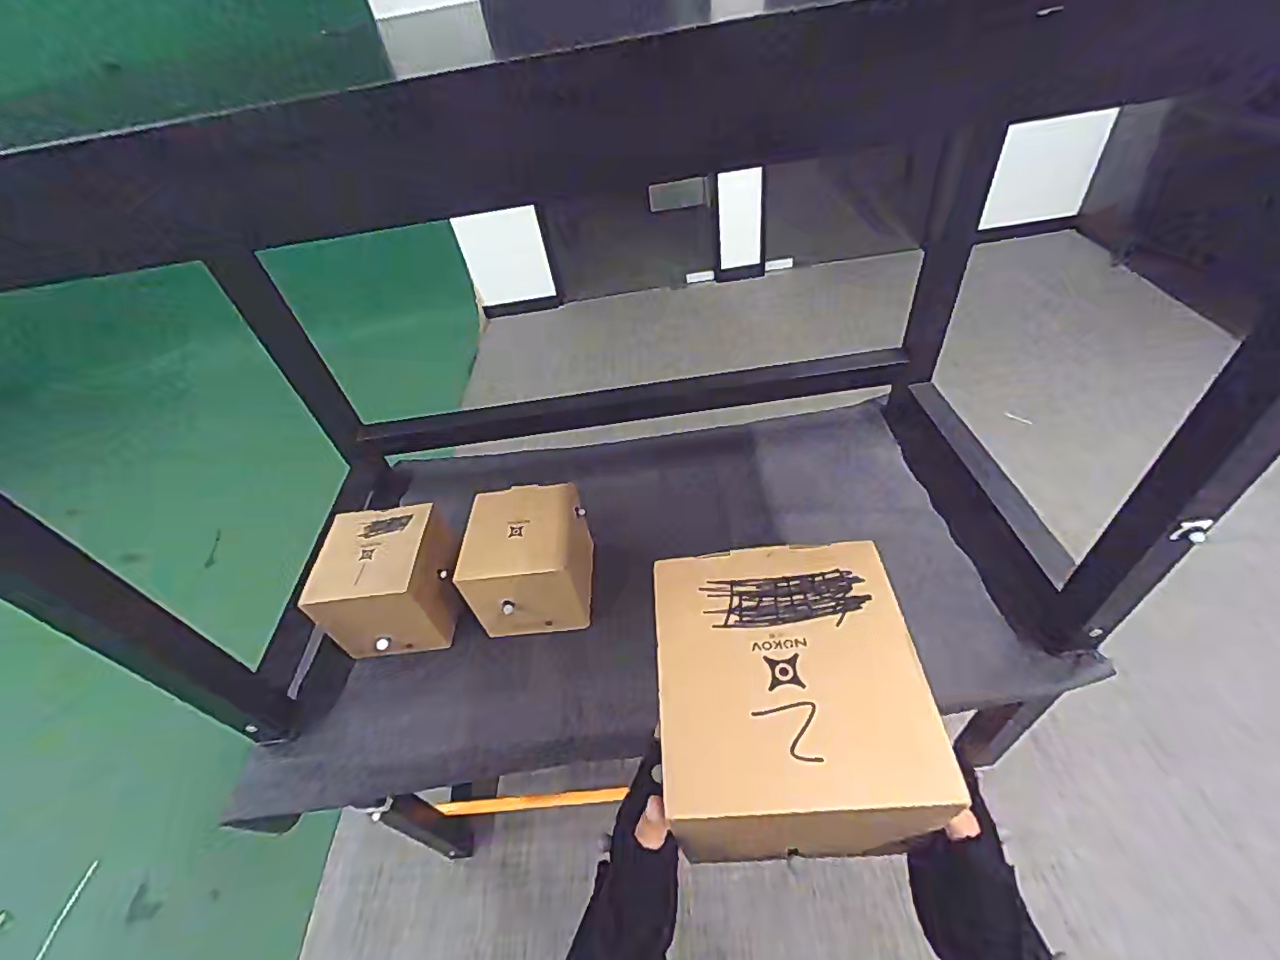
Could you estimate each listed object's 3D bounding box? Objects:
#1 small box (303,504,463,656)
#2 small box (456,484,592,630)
[{"bbox_3d":[-0.402,0.165,0.891,0.168,0.176,0.179,-7,45,3],"label":"small box"},{"bbox_3d":[-0.177,0.132,0.885,0.168,0.176,0.179,-6,44,4],"label":"small box"}]
